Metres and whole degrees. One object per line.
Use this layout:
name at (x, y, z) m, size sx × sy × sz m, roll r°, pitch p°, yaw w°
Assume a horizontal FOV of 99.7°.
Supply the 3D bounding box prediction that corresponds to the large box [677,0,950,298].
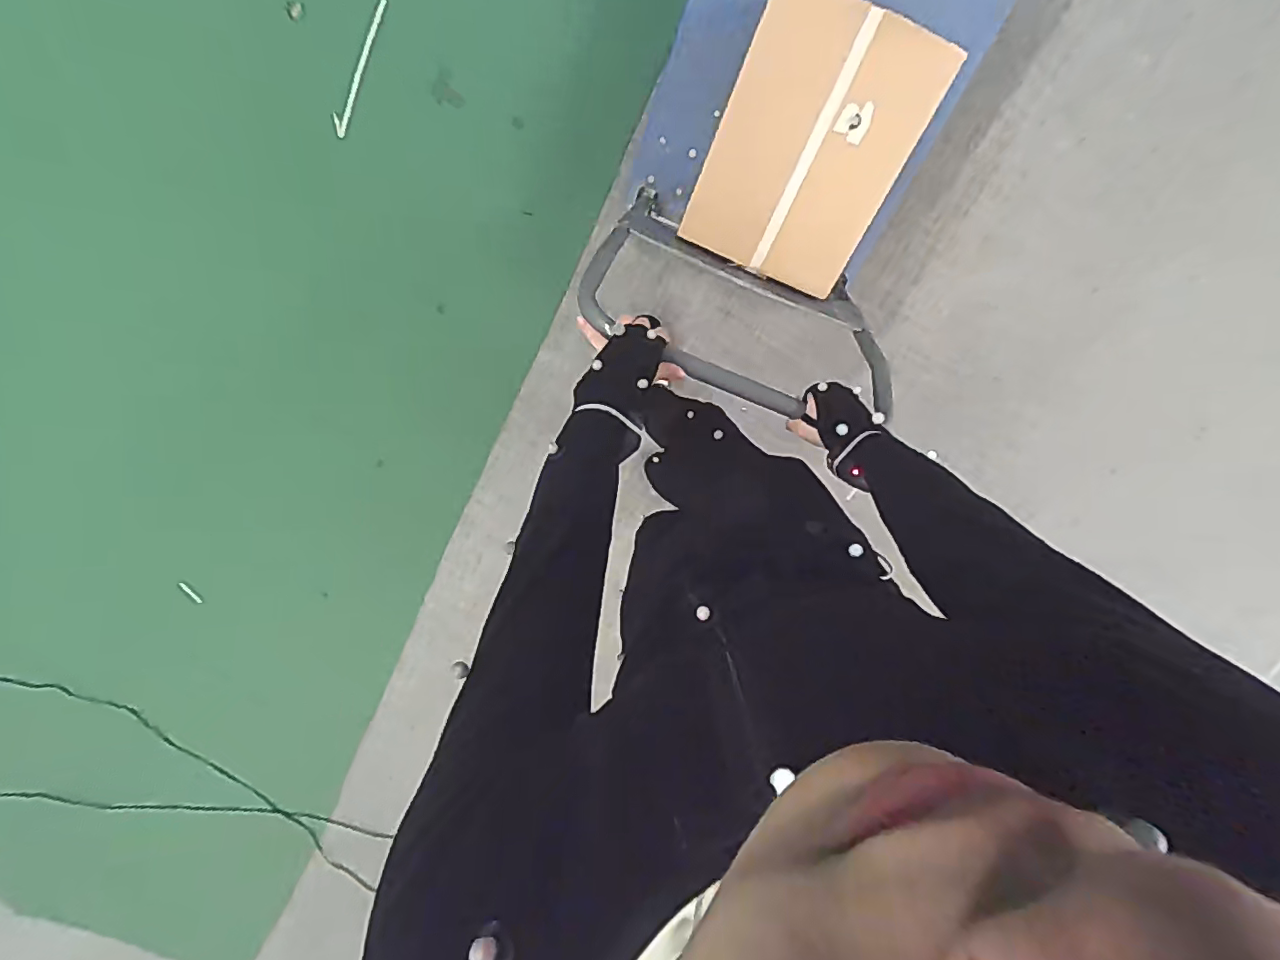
large box at (0.299, -0.635, 1.061) m, size 0.320 × 0.320 × 0.408 m, roll 22°, pitch 122°, yaw -6°
